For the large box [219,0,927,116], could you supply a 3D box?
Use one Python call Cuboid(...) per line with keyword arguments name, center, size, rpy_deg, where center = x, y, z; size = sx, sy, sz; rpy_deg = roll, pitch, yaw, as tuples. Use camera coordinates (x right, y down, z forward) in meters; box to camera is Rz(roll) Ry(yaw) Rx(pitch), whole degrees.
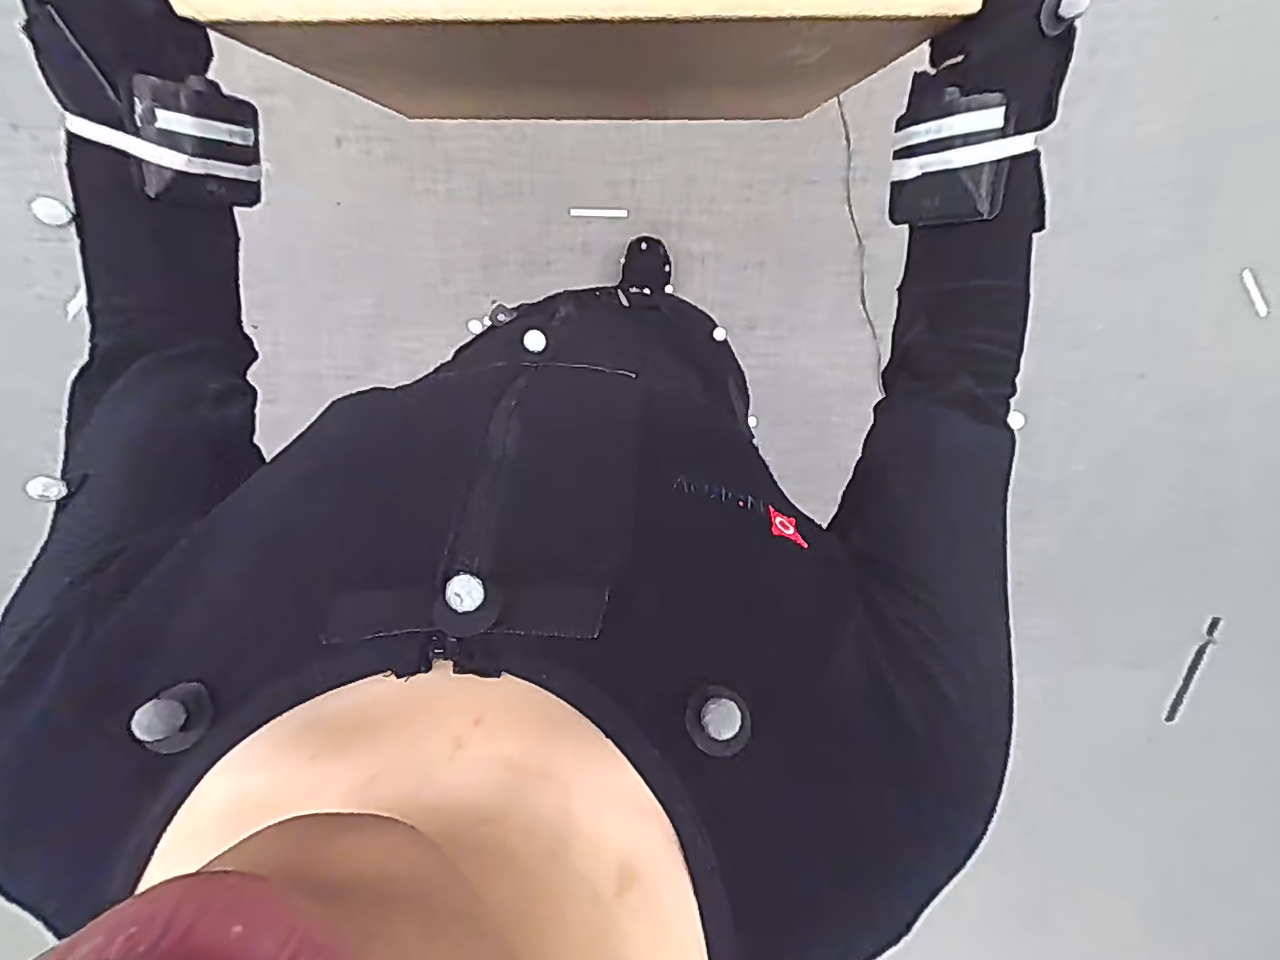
Cuboid(name="large box", center=(-0.033, -0.453, 0.352), size=(0.408, 0.320, 0.320), rpy_deg=(-1, 116, -1))
